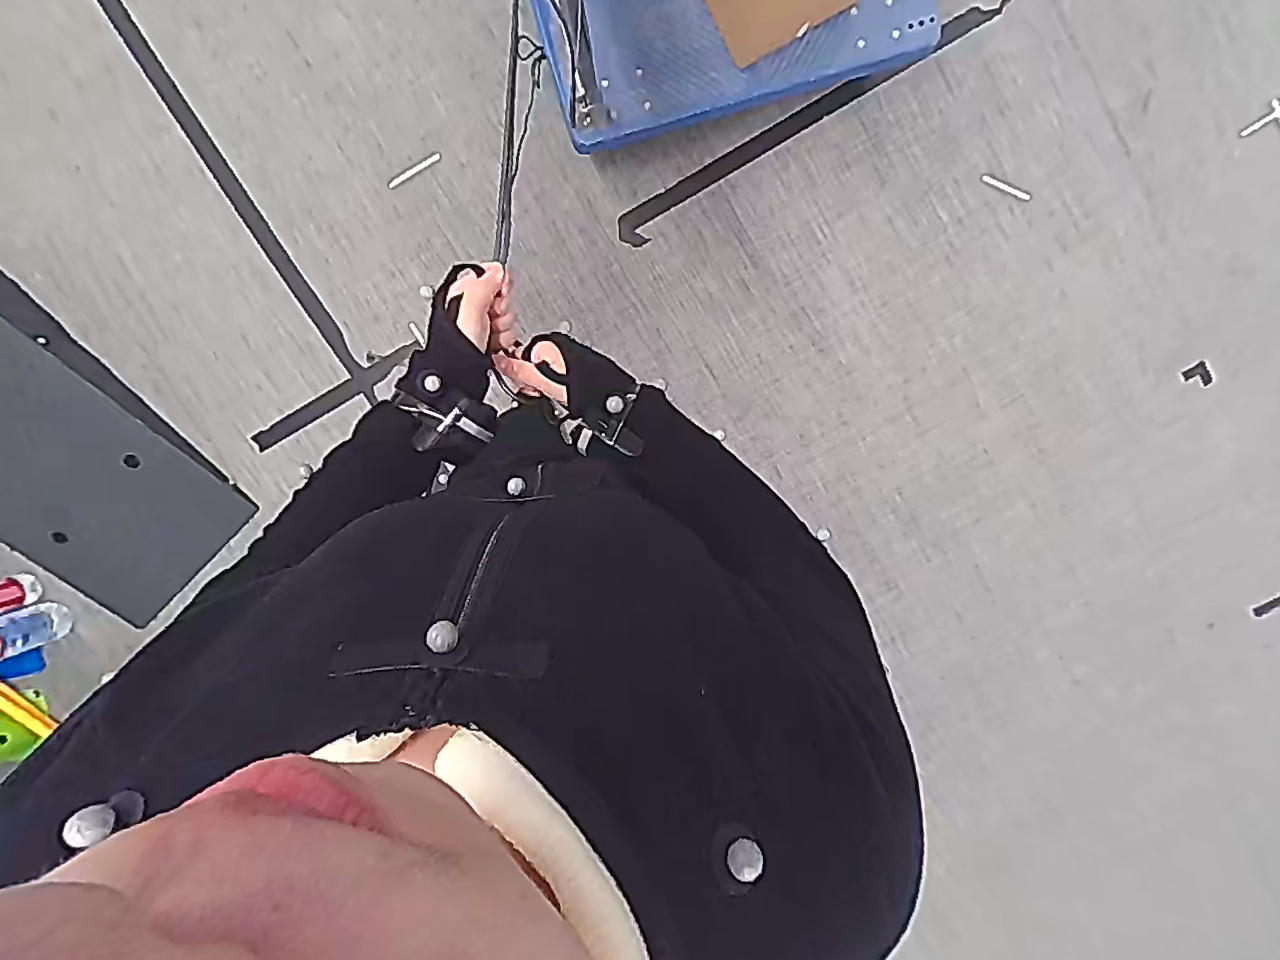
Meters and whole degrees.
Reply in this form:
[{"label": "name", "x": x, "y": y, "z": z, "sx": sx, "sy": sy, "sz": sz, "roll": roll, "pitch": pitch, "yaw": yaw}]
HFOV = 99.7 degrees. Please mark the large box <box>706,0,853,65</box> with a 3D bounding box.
[{"label": "large box", "x": 0.260, "y": -1.148, "z": 1.034, "sx": 0.320, "sy": 0.320, "sz": 0.408, "roll": -30, "pitch": 97, "yaw": 2}]
